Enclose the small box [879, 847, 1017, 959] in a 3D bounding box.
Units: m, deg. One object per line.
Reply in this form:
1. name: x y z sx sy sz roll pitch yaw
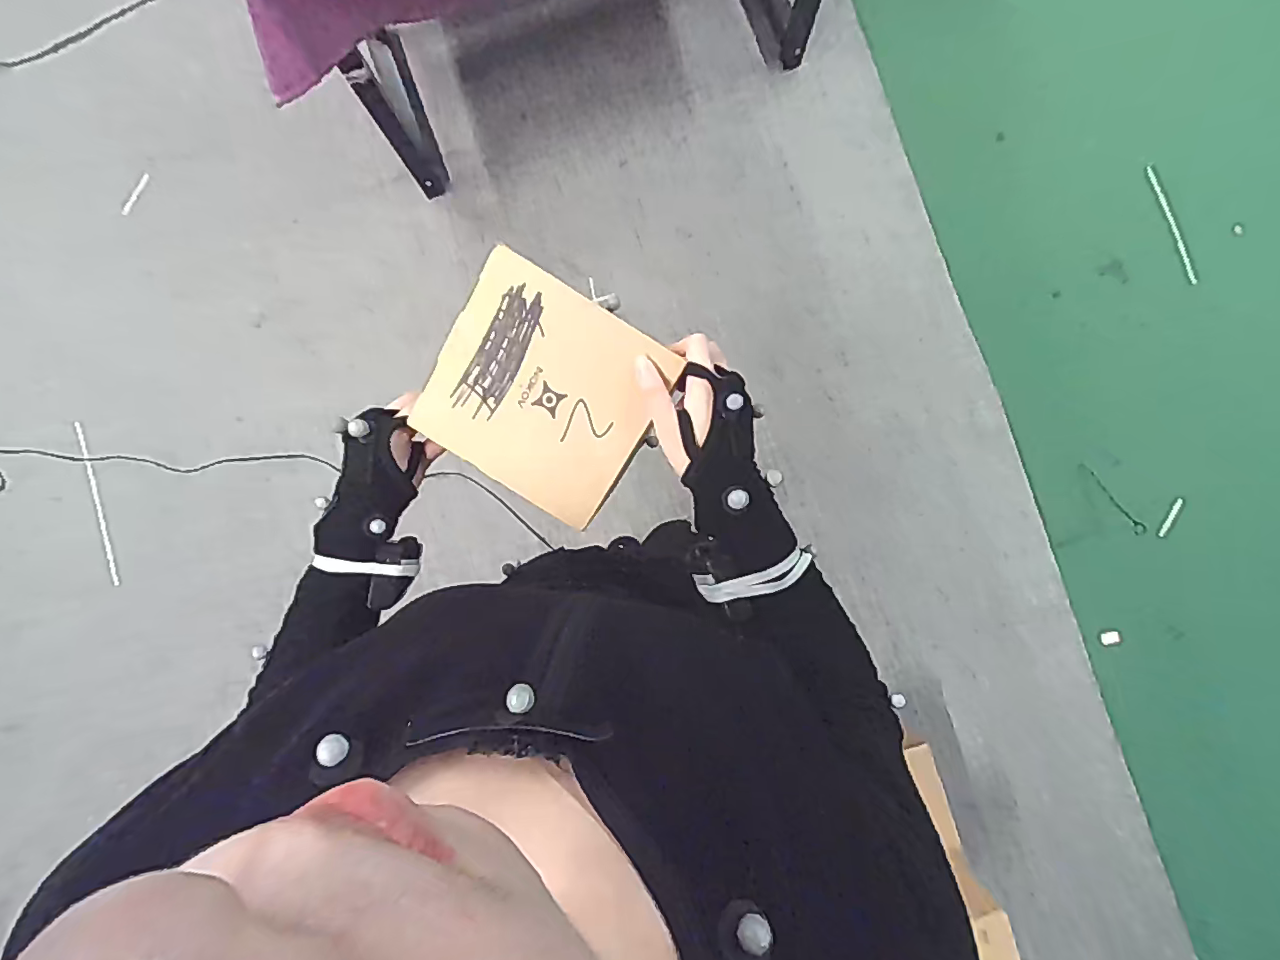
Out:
1. small box: 0.605 0.879 1.067 0.168 0.176 0.179 -16 89 -2
